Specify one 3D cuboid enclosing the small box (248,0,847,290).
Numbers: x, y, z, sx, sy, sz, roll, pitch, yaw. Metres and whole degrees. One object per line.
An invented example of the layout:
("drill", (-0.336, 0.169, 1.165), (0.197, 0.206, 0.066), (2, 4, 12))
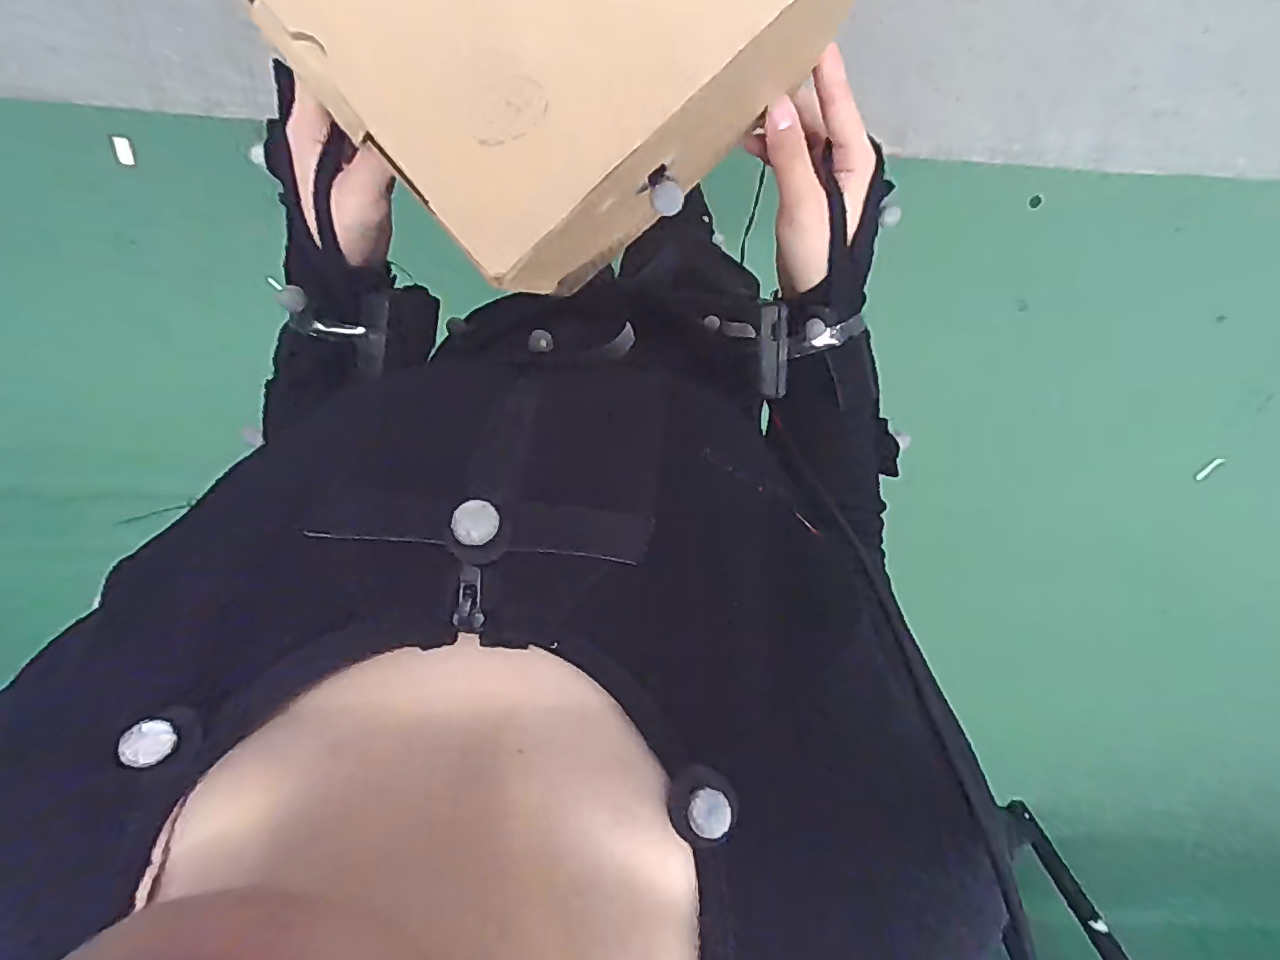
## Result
("small box", (-0.029, -0.199, 0.227), (0.179, 0.176, 0.168), (-38, 102, 13))
